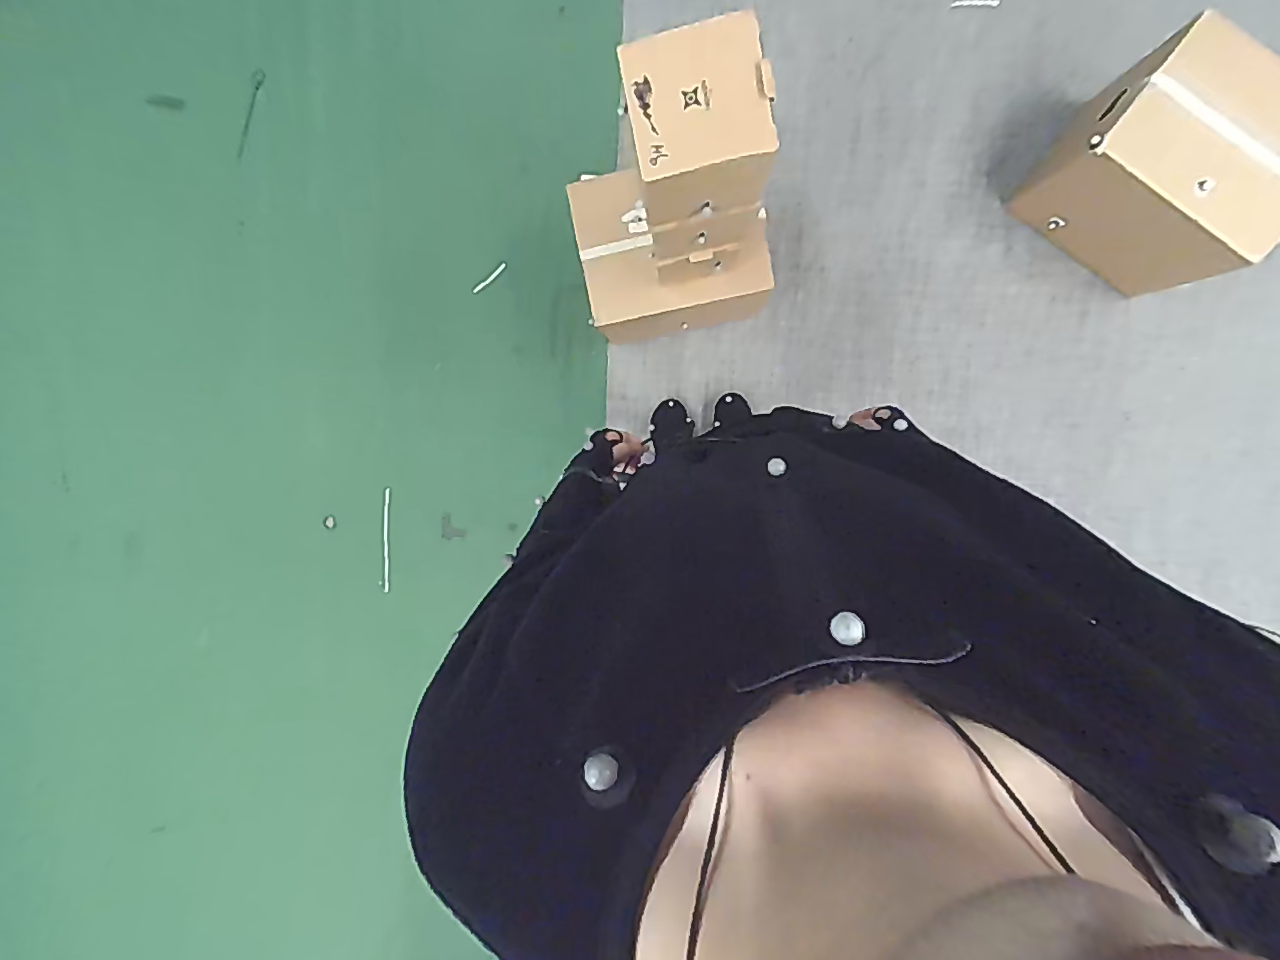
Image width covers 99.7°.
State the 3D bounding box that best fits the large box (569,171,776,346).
[{"bbox_3d":[0.084,-0.536,1.306,0.408,0.320,0.320,-11,94,7],"label":"large box"}]

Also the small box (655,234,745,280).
[{"bbox_3d":[0.106,-0.507,1.061,0.168,0.176,0.179,-10,95,6],"label":"small box"}]

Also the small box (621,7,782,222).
[{"bbox_3d":[0.078,-0.478,0.736,0.179,0.176,0.168,-11,95,5],"label":"small box"}]

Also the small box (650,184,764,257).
[{"bbox_3d":[0.095,-0.493,0.899,0.179,0.176,0.168,-11,95,6],"label":"small box"}]
